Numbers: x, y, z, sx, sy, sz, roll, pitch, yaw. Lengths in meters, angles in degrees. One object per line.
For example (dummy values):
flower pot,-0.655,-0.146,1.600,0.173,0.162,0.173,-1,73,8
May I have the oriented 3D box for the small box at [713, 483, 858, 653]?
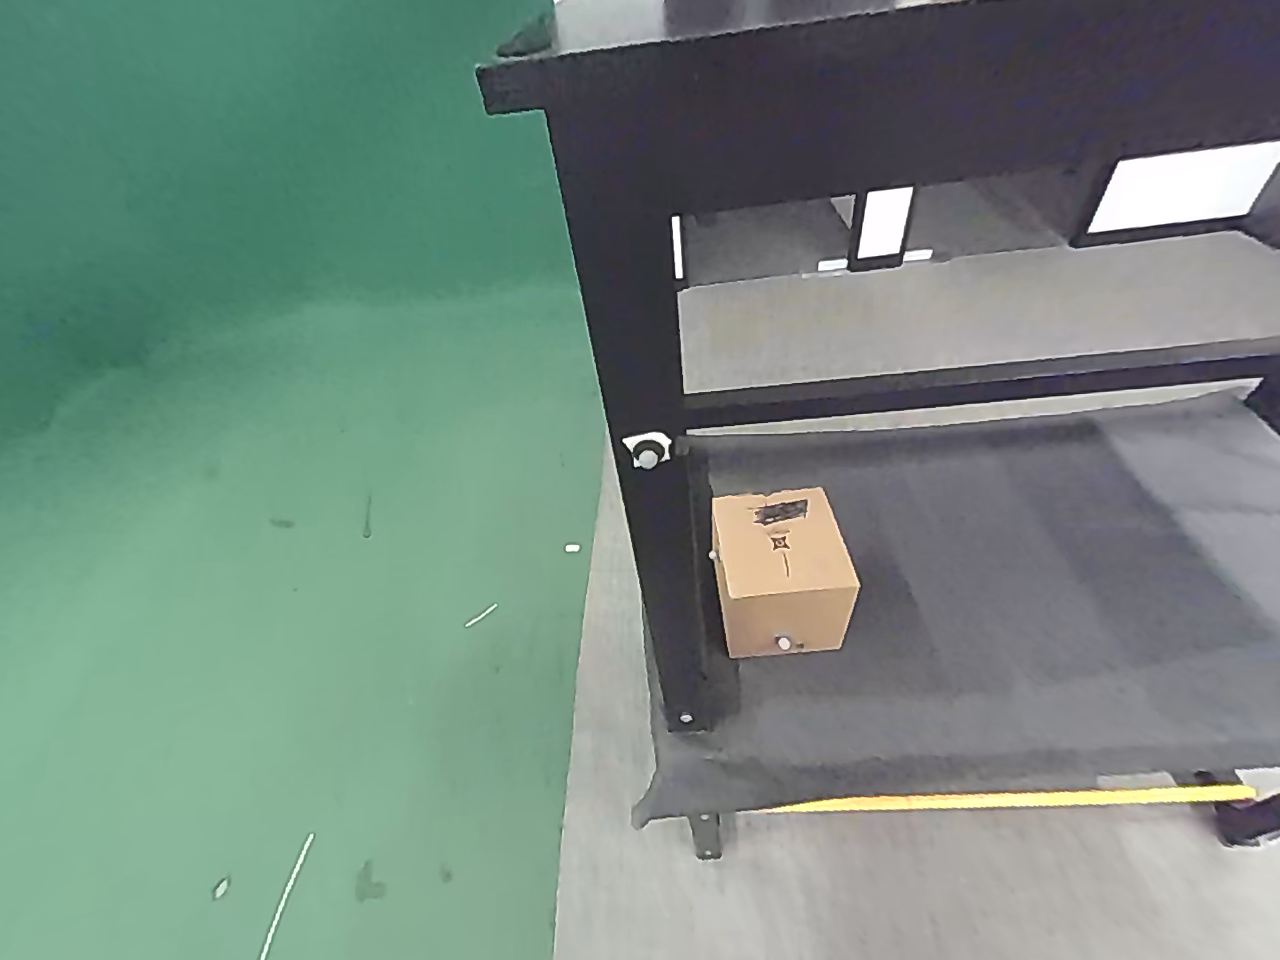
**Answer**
small box,0.198,0.130,0.794,0.168,0.176,0.179,-7,45,3
